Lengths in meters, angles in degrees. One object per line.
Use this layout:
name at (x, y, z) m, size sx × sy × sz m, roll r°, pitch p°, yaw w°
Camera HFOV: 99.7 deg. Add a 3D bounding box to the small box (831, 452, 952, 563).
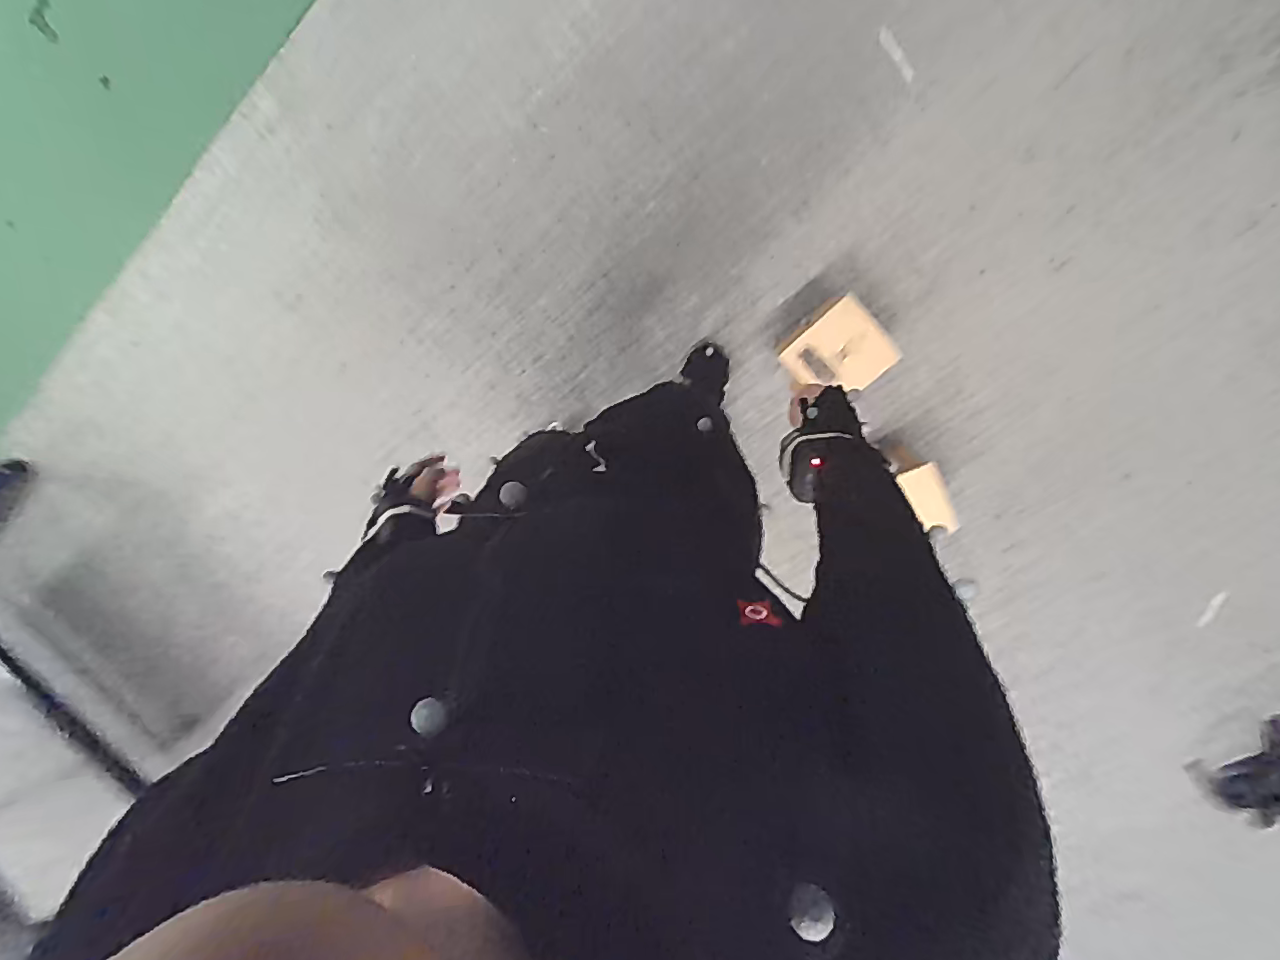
small box at (0.554, 0.054, 1.213) m, size 0.179 × 0.176 × 0.168 m, roll -24°, pitch 102°, yaw 15°
